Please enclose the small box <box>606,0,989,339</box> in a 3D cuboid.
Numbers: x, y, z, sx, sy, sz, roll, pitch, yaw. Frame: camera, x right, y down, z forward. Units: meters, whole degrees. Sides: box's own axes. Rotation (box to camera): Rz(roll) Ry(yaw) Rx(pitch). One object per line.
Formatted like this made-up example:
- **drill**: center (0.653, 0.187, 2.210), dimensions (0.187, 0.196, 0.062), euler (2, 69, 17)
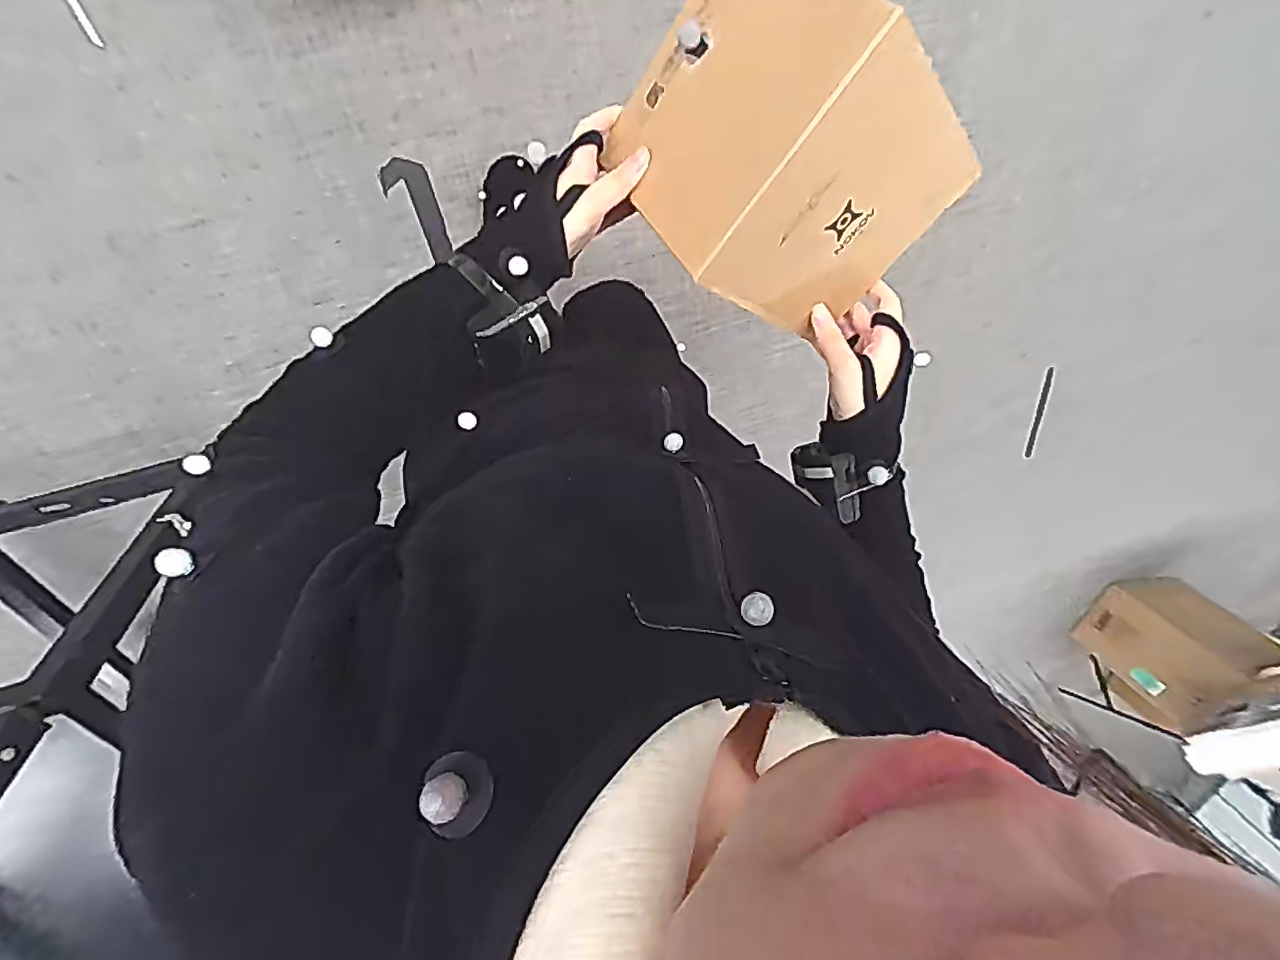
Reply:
- **small box**: center (0.108, -0.239, 0.399), dimensions (0.179, 0.176, 0.168), euler (6, 135, -47)
